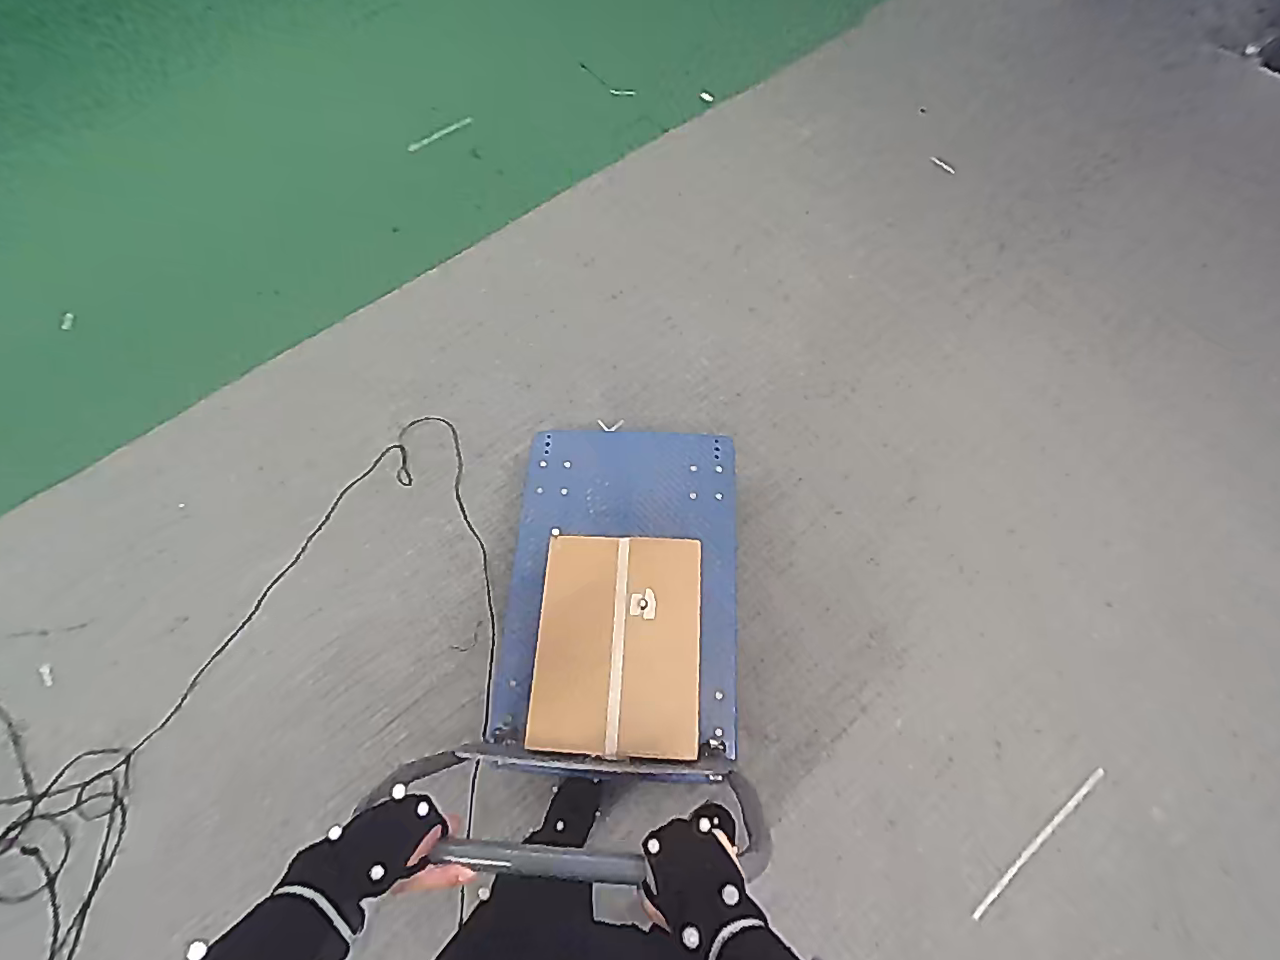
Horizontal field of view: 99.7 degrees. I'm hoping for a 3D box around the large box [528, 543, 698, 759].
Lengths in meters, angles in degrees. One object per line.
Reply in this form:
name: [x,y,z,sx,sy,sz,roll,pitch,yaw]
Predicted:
large box: [-0.034,0.379,1.190,0.320,0.320,0.408,2,66,4]
